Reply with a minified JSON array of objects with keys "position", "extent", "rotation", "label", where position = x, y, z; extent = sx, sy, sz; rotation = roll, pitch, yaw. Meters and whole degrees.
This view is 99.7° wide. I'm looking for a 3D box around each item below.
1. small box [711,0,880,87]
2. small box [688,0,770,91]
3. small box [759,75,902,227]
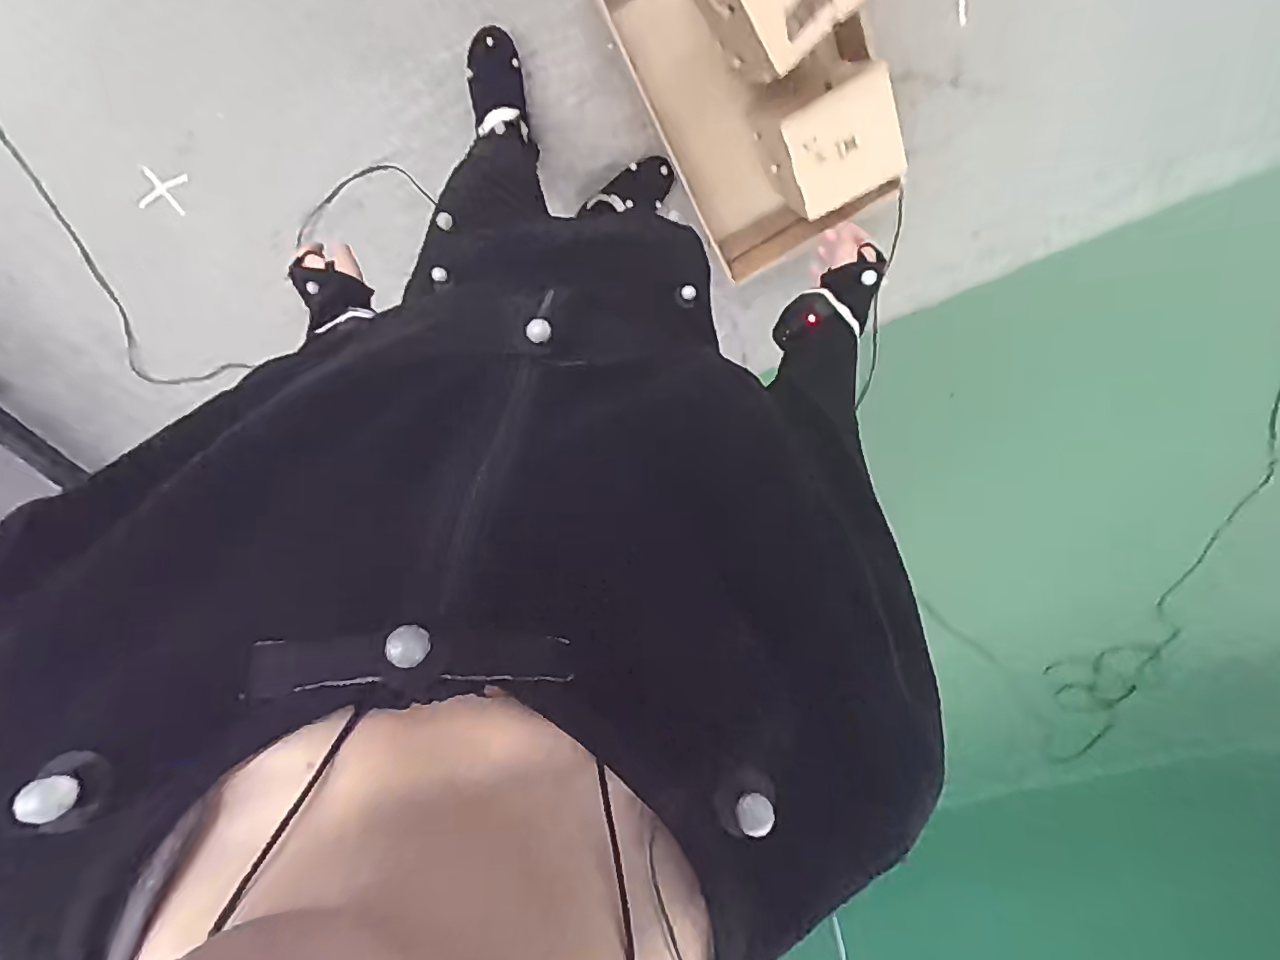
[{"position":[0.189,-0.659,0.704],"extent":[0.168,0.176,0.179],"rotation":[-32,122,21],"label":"small box"},{"position":[0.192,-0.753,0.839],"extent":[0.168,0.176,0.179],"rotation":[-39,120,25],"label":"small box"},{"position":[0.333,-0.587,0.963],"extent":[0.179,0.176,0.168],"rotation":[-23,123,15],"label":"small box"}]
